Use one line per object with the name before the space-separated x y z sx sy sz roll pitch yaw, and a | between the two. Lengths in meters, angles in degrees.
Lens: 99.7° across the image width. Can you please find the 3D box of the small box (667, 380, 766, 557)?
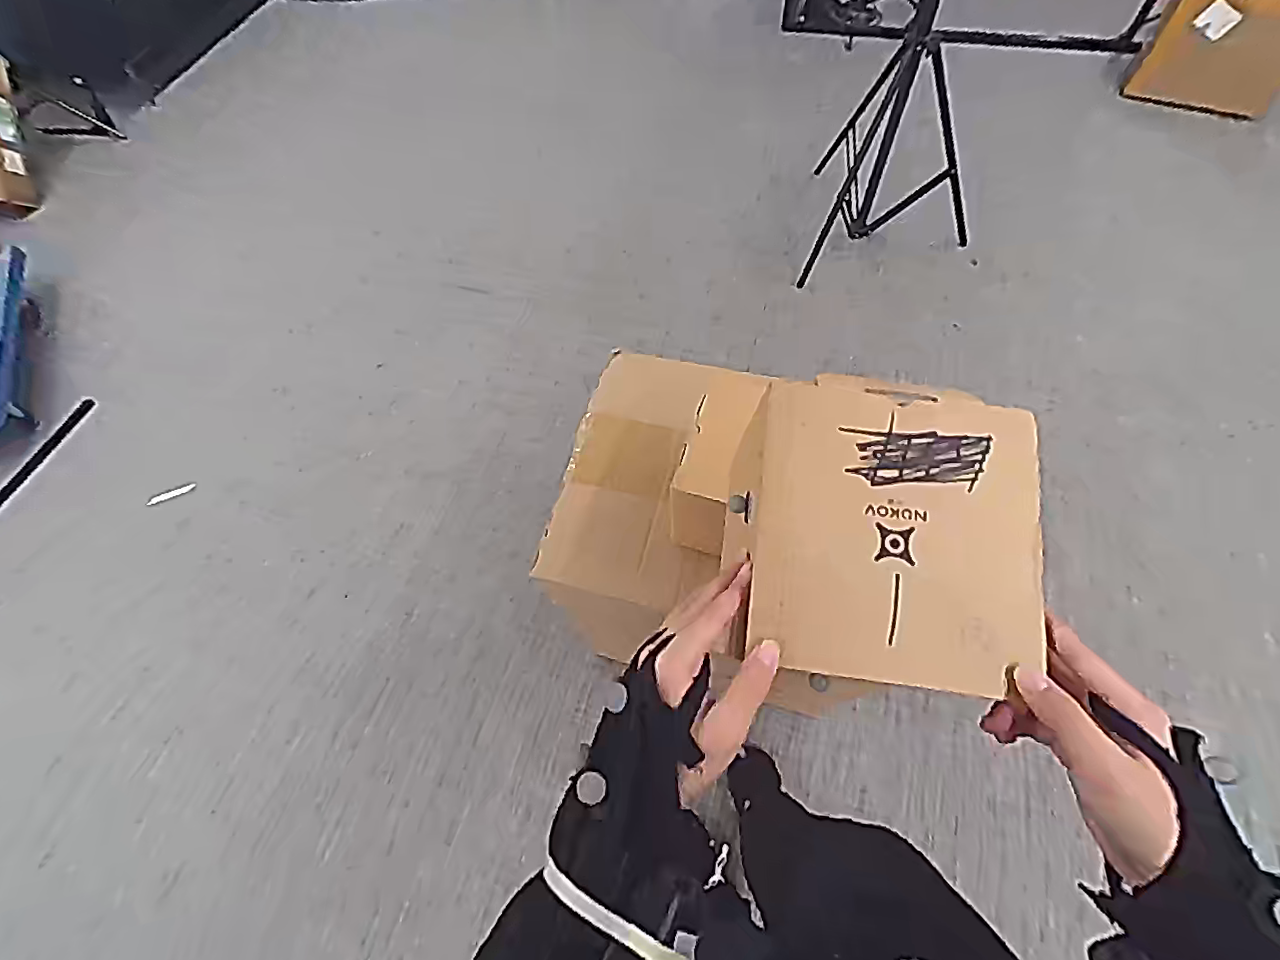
small box | 0.143 0.004 0.686 0.179 0.176 0.168 15 65 13

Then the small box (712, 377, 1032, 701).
small box | 0.149 0.048 0.400 0.168 0.176 0.179 8 76 4
